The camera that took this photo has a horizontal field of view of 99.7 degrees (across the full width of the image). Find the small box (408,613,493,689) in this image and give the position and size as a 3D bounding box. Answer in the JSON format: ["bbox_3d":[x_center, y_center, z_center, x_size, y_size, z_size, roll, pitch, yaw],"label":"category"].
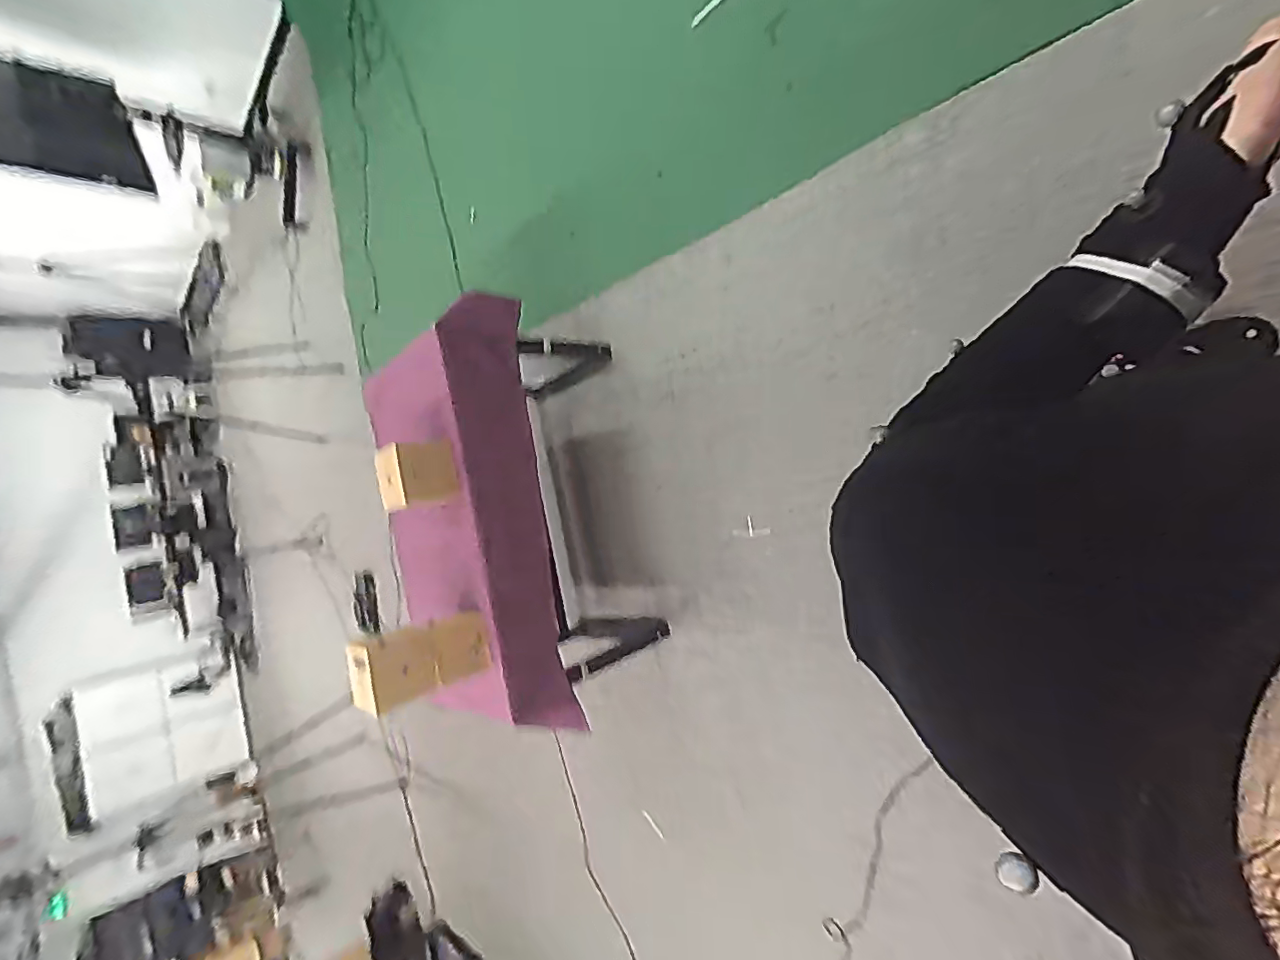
[{"bbox_3d":[-0.559,0.500,1.602,0.179,0.176,0.168,-12,88,43],"label":"small box"}]

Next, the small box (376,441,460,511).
[{"bbox_3d":[-0.657,-0.012,1.610,0.168,0.176,0.179,-11,89,43],"label":"small box"}]
